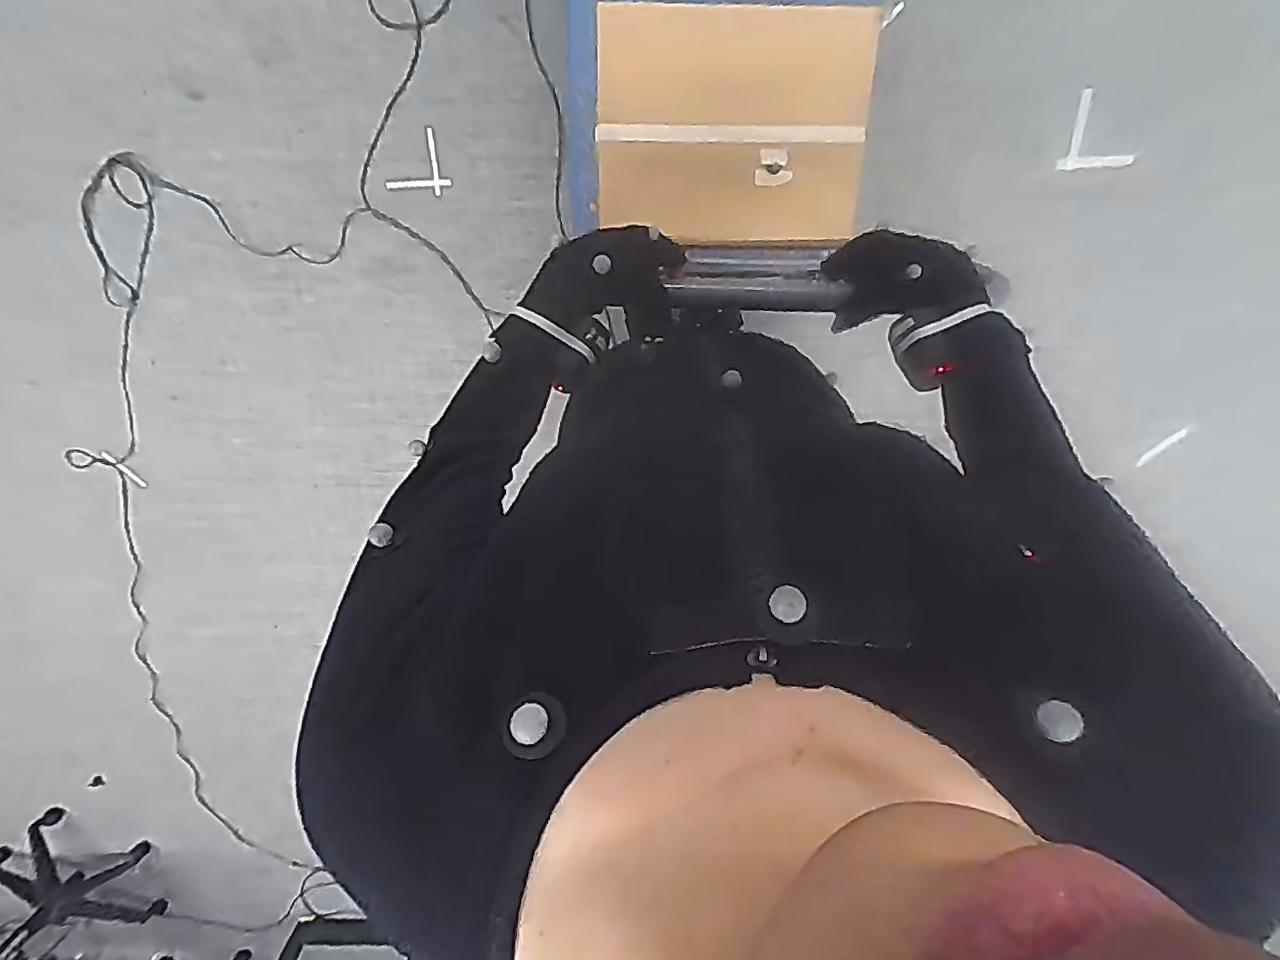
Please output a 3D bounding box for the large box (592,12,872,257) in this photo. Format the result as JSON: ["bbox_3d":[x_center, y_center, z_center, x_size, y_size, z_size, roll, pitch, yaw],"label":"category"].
[{"bbox_3d":[0.129,-0.568,0.955,0.408,0.320,0.320,0,112,-1],"label":"large box"}]
